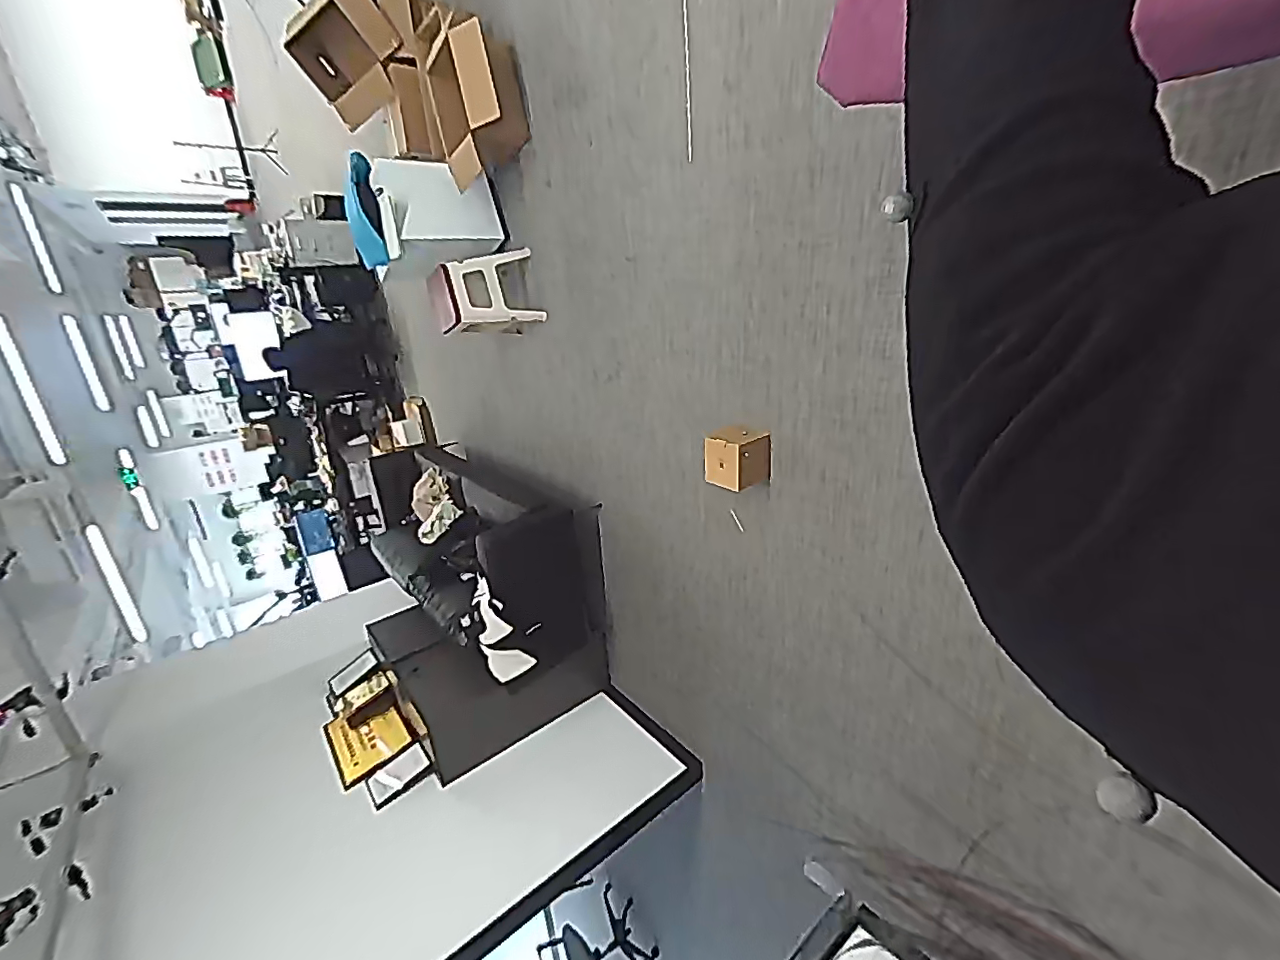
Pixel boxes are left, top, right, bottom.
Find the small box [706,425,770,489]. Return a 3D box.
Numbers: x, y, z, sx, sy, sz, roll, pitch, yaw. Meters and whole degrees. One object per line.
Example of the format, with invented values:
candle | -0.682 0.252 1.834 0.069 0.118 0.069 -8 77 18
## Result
small box | 0.358 -0.088 1.965 0.168 0.176 0.179 20 121 48
